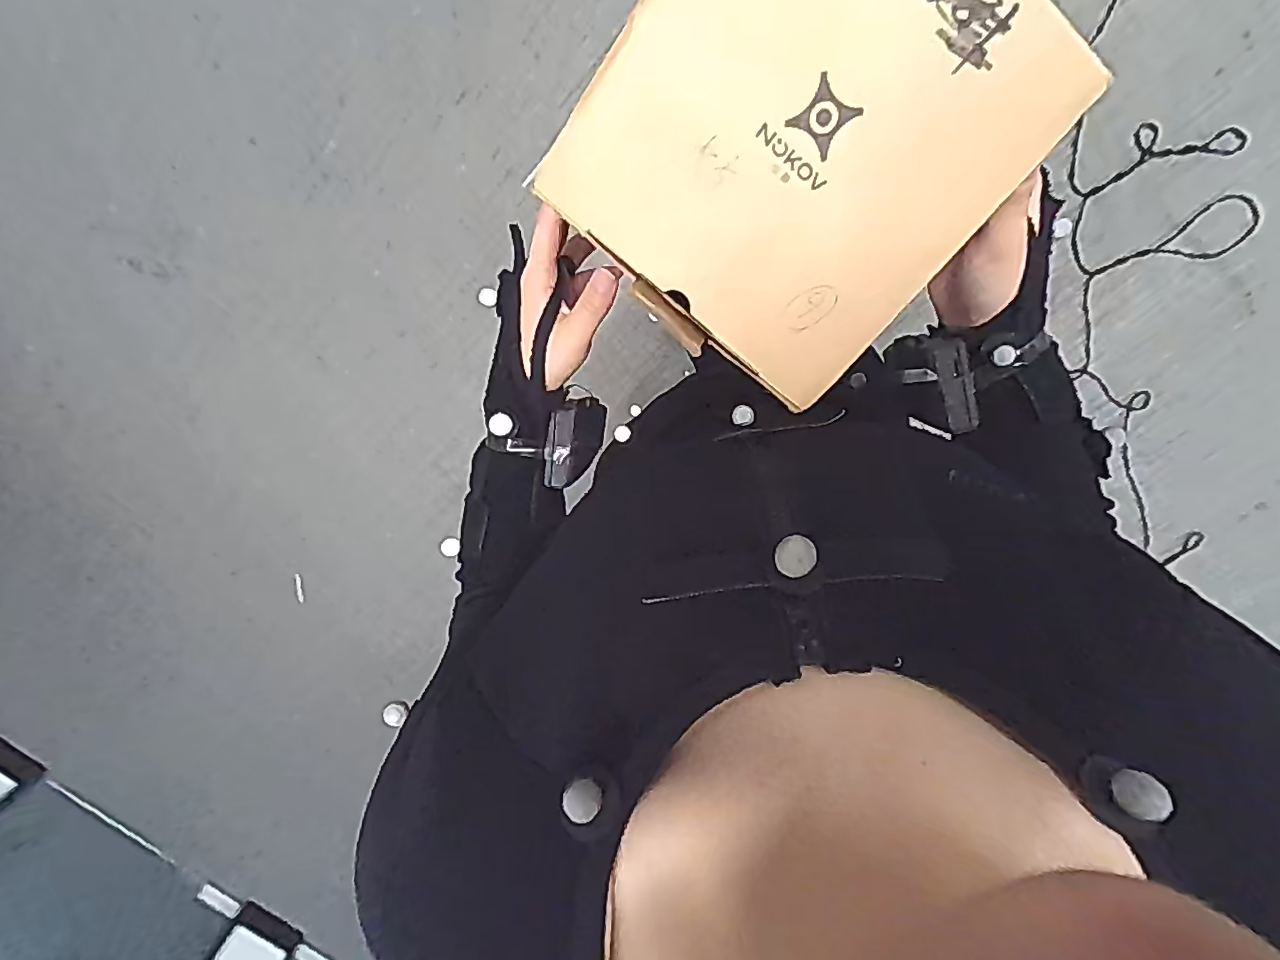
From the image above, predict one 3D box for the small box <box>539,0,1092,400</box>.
[{"bbox_3d":[0.074,-0.178,0.304,0.168,0.176,0.179,37,111,-12],"label":"small box"}]
